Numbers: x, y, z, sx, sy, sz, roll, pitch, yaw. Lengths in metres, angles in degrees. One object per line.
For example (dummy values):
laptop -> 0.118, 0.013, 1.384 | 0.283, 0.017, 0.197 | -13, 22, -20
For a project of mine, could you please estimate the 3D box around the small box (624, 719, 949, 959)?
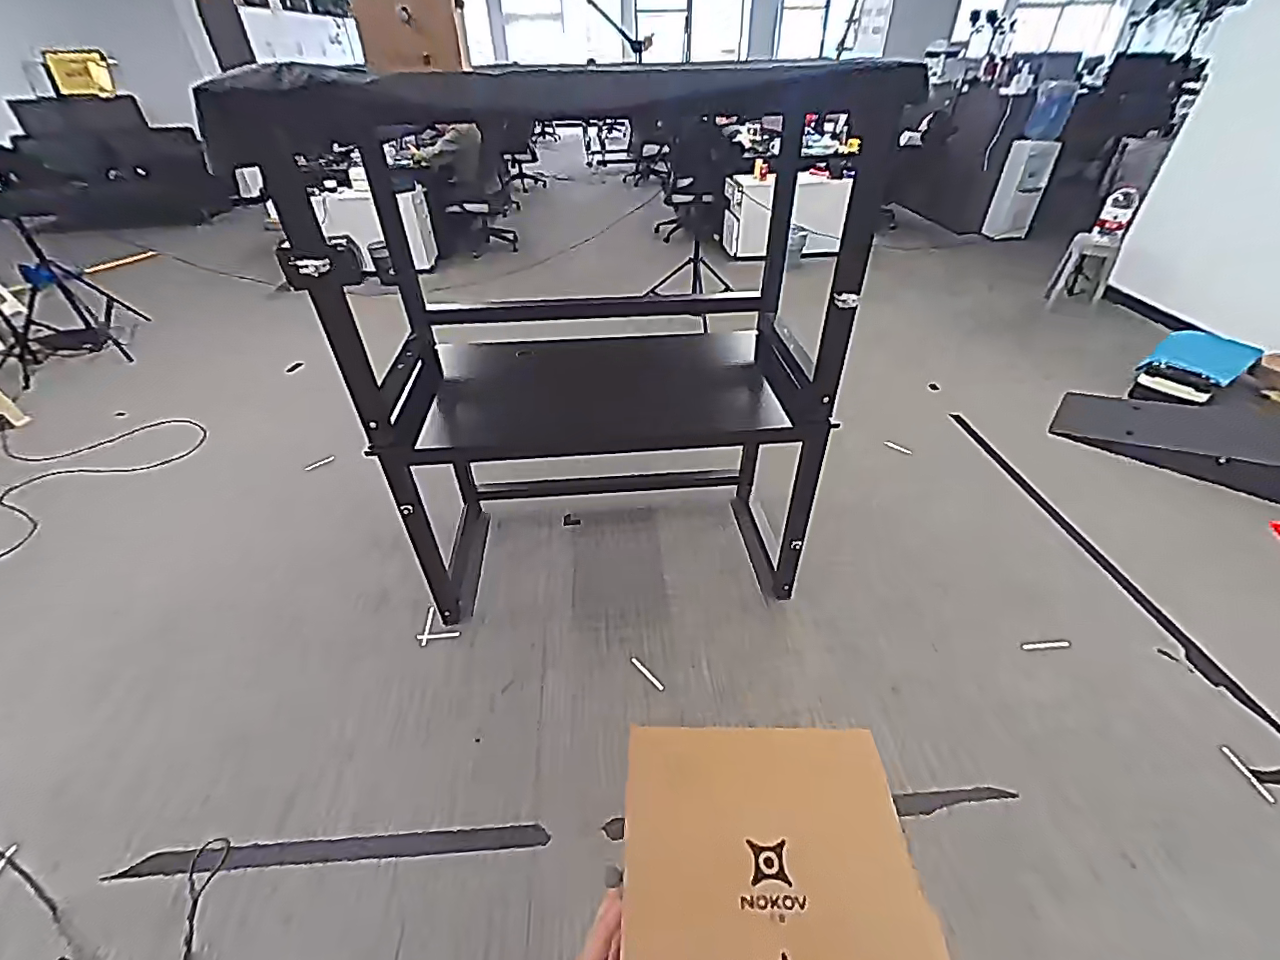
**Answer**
small box -> 0.076, 0.281, 0.350 | 0.168, 0.176, 0.179 | 0, 39, 2

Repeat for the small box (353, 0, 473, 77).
small box -> -0.398, -0.823, 0.957 | 0.168, 0.176, 0.179 | -5, 38, -7
